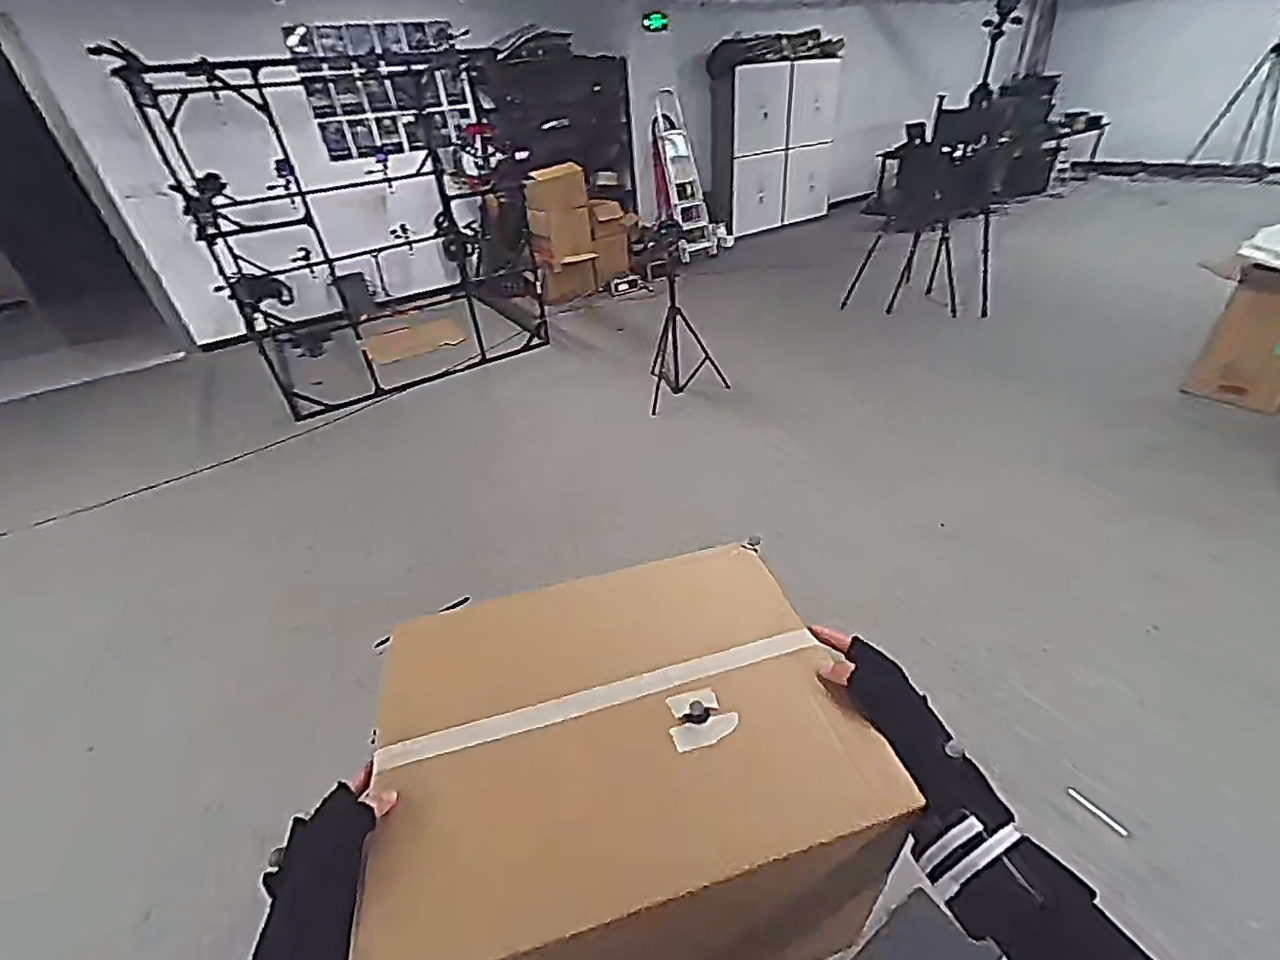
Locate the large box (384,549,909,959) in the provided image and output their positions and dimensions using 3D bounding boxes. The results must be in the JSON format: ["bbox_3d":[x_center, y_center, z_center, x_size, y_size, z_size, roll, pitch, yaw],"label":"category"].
[{"bbox_3d":[-0.008,0.327,0.586,0.408,0.320,0.320,-11,35,-10],"label":"large box"}]
